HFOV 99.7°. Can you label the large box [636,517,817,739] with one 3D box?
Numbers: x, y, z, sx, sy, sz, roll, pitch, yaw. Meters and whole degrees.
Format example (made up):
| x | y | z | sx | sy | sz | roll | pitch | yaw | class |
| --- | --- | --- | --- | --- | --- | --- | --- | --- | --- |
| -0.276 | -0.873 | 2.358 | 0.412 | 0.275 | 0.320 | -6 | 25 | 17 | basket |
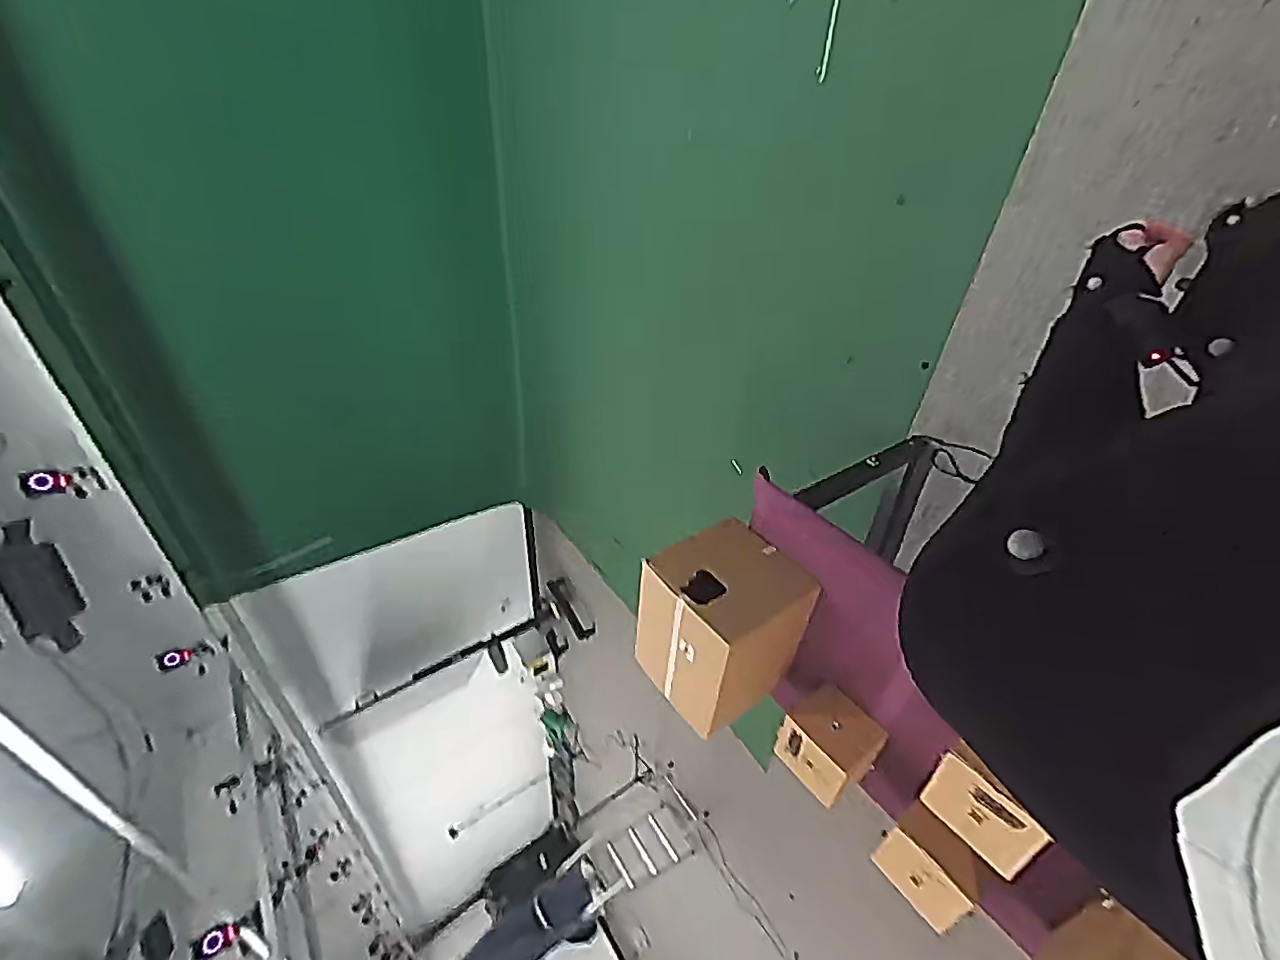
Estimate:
| x | y | z | sx | sy | sz | roll | pitch | yaw | class |
| --- | --- | --- | --- | --- | --- | --- | --- | --- | --- |
| 0.209 | 0.376 | 1.422 | 0.320 | 0.320 | 0.408 | 39 | 138 | 38 | large box |
